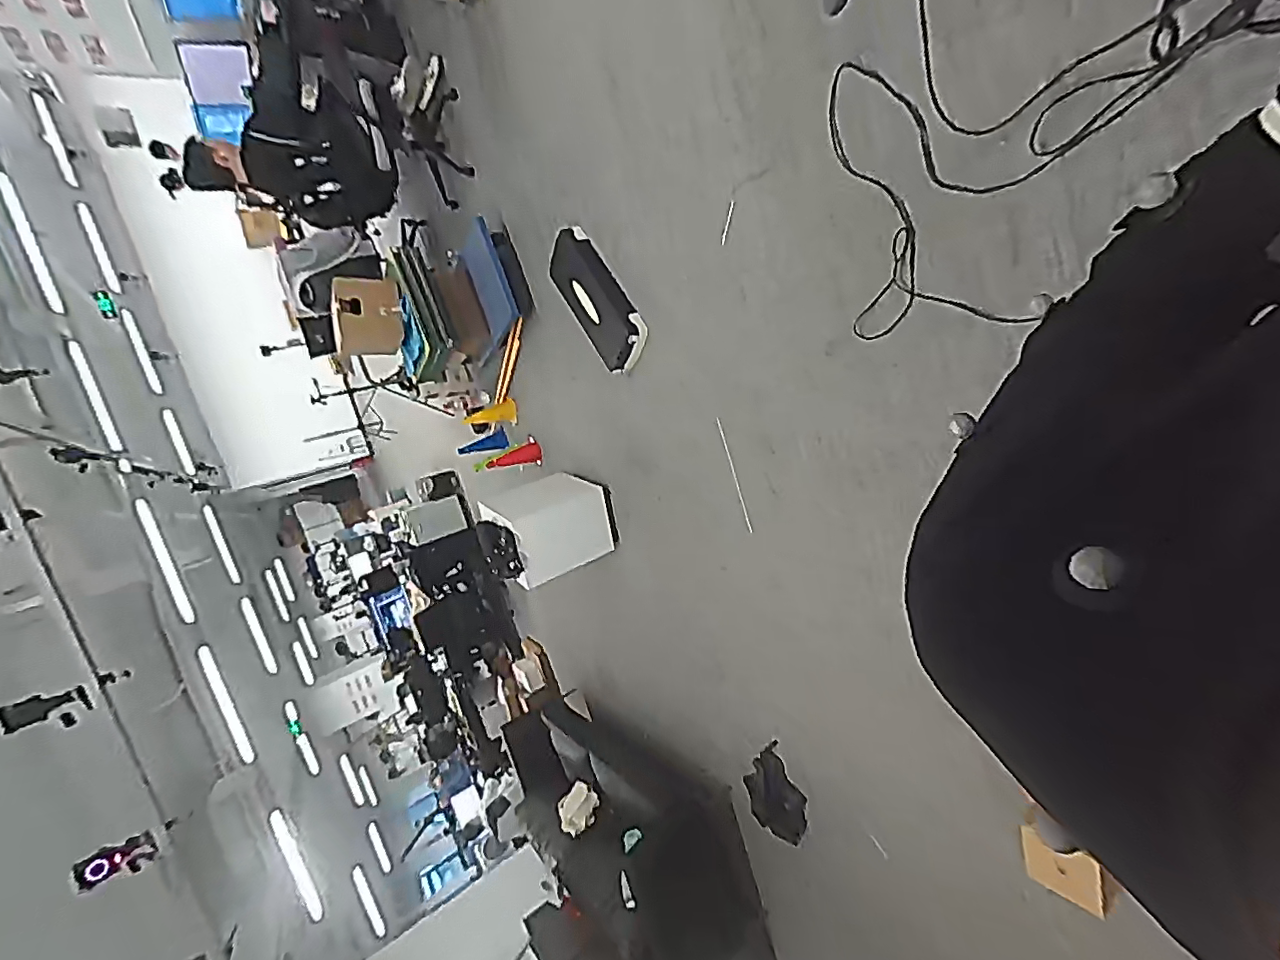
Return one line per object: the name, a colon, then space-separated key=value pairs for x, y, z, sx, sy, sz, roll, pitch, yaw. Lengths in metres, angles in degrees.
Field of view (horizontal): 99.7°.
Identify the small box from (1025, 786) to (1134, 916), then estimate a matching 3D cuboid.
small box: x=1.118 y=0.929 z=1.375 sx=0.168 sy=0.176 sz=0.179 roll=3 pitch=112 yaw=59
